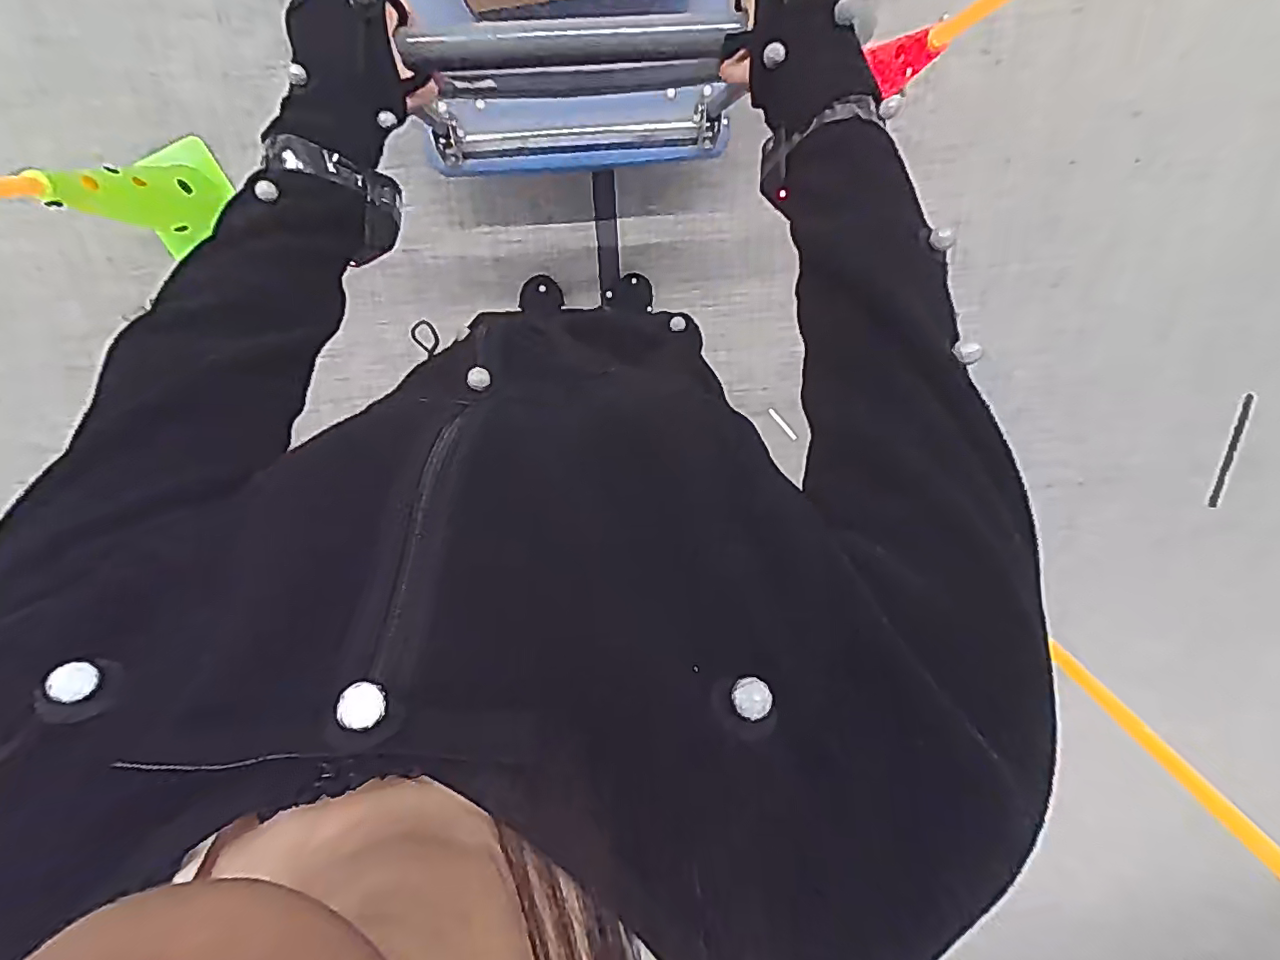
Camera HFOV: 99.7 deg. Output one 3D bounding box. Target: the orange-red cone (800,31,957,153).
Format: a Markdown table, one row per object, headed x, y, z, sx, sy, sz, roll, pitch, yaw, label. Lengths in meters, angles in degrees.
| x | y | z | sx | sy | sz | roll | pitch | yaw | label |
| --- | --- | --- | --- | --- | --- | --- | --- | --- | --- |
| 0.475 | -0.768 | 1.025 | 0.199 | 0.360 | 0.198 | 1 | 113 | -7 | orange-red cone |
